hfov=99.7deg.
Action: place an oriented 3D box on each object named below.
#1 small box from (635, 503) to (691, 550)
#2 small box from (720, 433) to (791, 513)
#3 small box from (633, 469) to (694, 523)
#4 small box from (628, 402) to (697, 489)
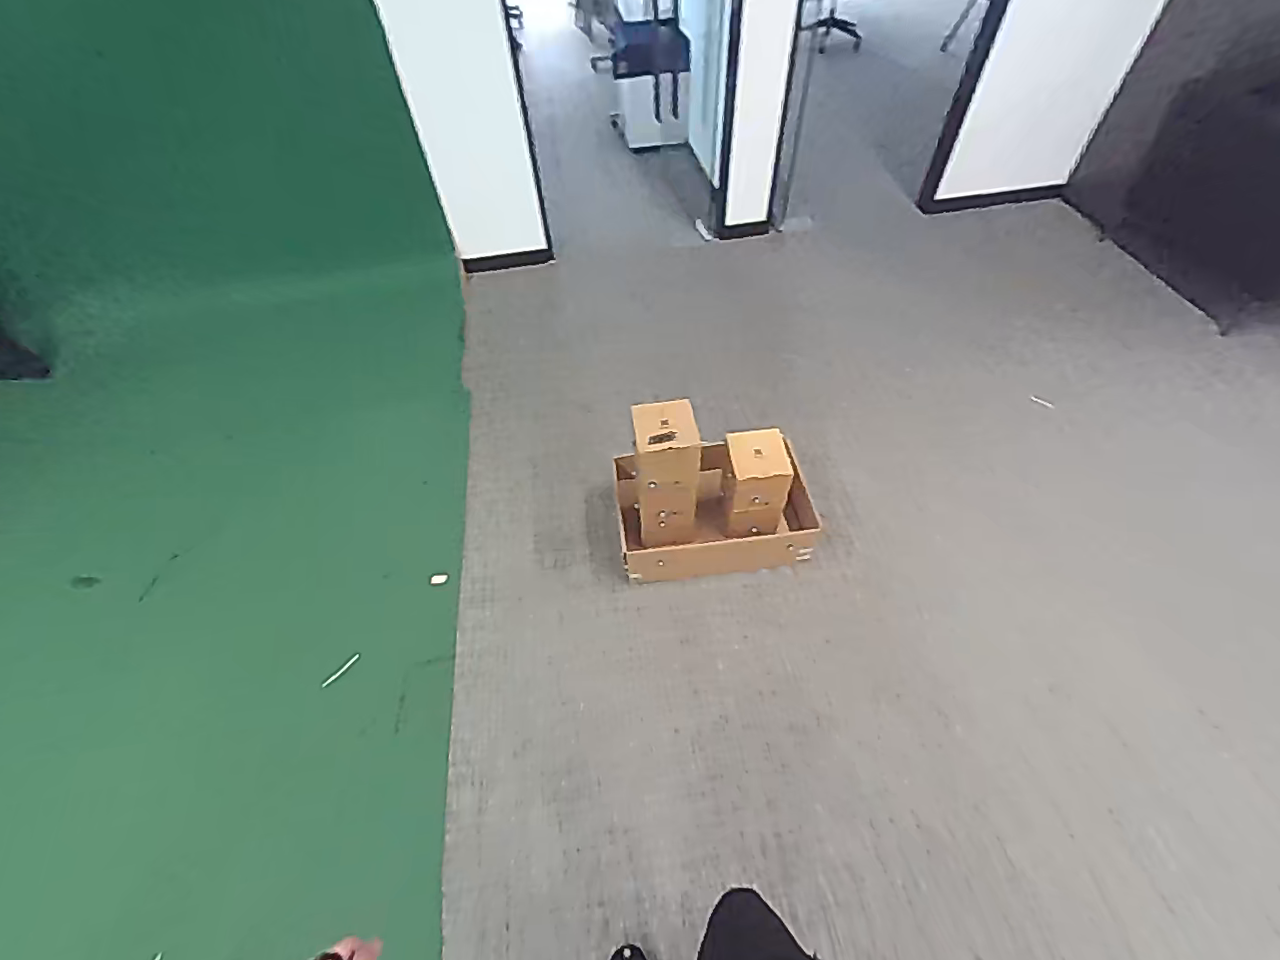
[{"bbox_3d":[0.069,0.107,1.756,0.168,0.176,0.179,-5,52,-2],"label":"small box"},{"bbox_3d":[0.341,-0.020,1.639,0.168,0.176,0.179,-6,53,-2],"label":"small box"},{"bbox_3d":[0.065,0.009,1.626,0.168,0.176,0.179,-5,53,-2],"label":"small box"},{"bbox_3d":[0.062,-0.088,1.493,0.168,0.176,0.179,-7,52,-3],"label":"small box"}]
